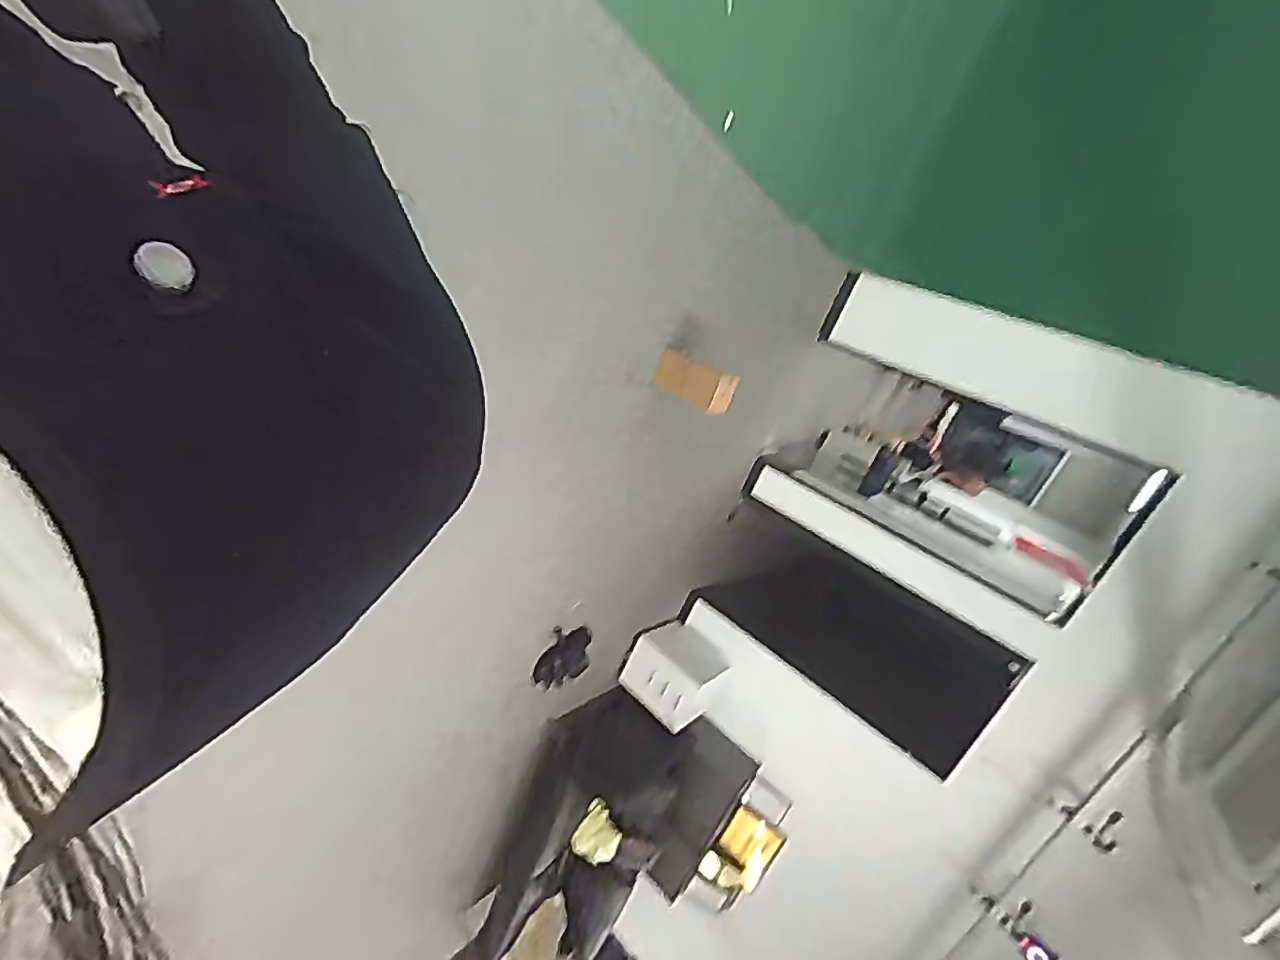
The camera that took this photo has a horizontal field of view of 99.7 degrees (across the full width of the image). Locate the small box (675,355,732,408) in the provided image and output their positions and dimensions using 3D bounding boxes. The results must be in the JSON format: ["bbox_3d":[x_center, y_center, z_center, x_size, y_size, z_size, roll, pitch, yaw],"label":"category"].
[{"bbox_3d":[0.281,-0.442,2.440,0.168,0.176,0.179,-6,124,-54],"label":"small box"}]

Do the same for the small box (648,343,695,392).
[{"bbox_3d":[0.162,-0.519,2.523,0.168,0.176,0.179,-4,121,-55],"label":"small box"}]
